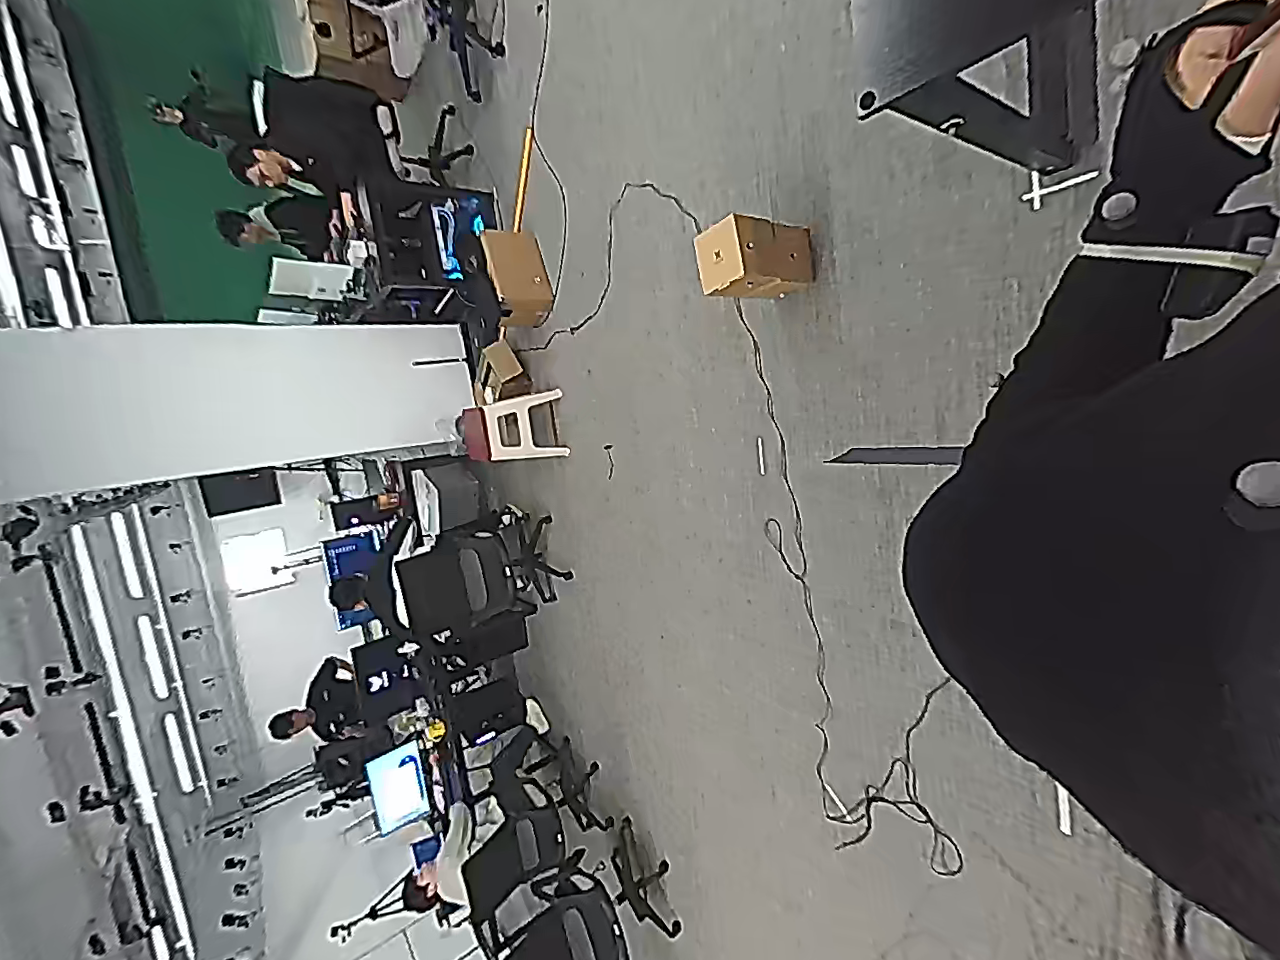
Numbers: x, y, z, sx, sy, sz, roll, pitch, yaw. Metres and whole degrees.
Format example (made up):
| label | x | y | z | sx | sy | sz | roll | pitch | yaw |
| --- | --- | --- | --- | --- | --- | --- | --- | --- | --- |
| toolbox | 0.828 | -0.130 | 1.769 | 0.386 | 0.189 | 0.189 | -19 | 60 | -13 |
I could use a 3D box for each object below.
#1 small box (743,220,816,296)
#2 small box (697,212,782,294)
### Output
| label | x | y | z | sx | sy | sz | roll | pitch | yaw |
| --- | --- | --- | --- | --- | --- | --- | --- | --- | --- |
| small box | 0.428 | -0.685 | 1.692 | 0.168 | 0.176 | 0.179 | -2 | 99 | 54 |
| small box | 0.298 | -0.662 | 1.598 | 0.168 | 0.176 | 0.179 | -8 | 92 | 53 |
